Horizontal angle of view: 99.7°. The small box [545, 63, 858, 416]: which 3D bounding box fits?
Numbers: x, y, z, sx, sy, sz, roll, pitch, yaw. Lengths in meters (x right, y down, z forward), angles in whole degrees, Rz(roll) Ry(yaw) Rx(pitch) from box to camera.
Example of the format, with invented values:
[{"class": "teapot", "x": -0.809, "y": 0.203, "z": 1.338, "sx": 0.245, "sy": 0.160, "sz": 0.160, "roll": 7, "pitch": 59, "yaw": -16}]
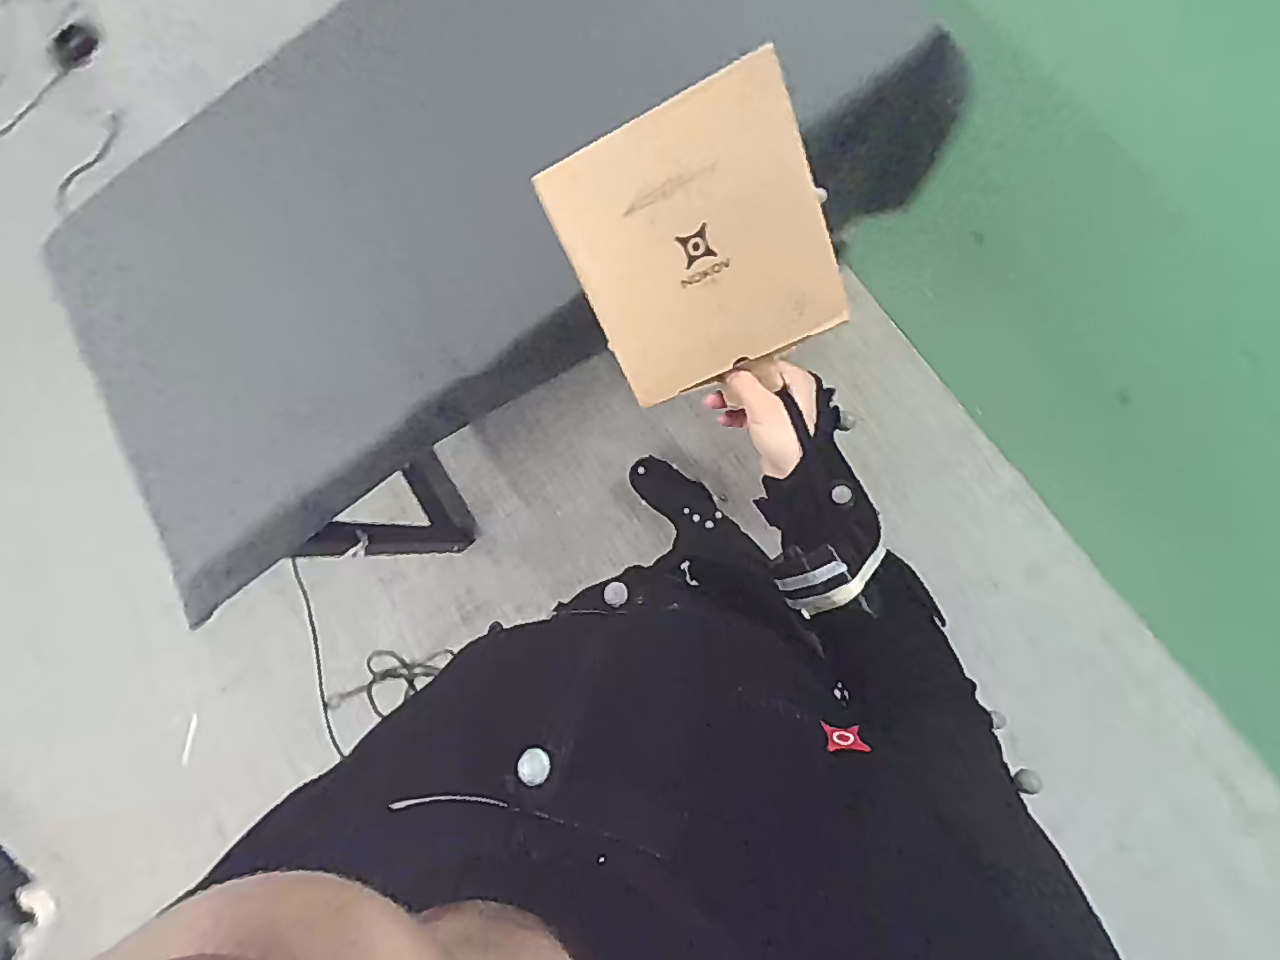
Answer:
[{"class": "small box", "x": 0.050, "y": -0.181, "z": 0.437, "sx": 0.168, "sy": 0.176, "sz": 0.179, "roll": -22, "pitch": 112, "yaw": 13}]
